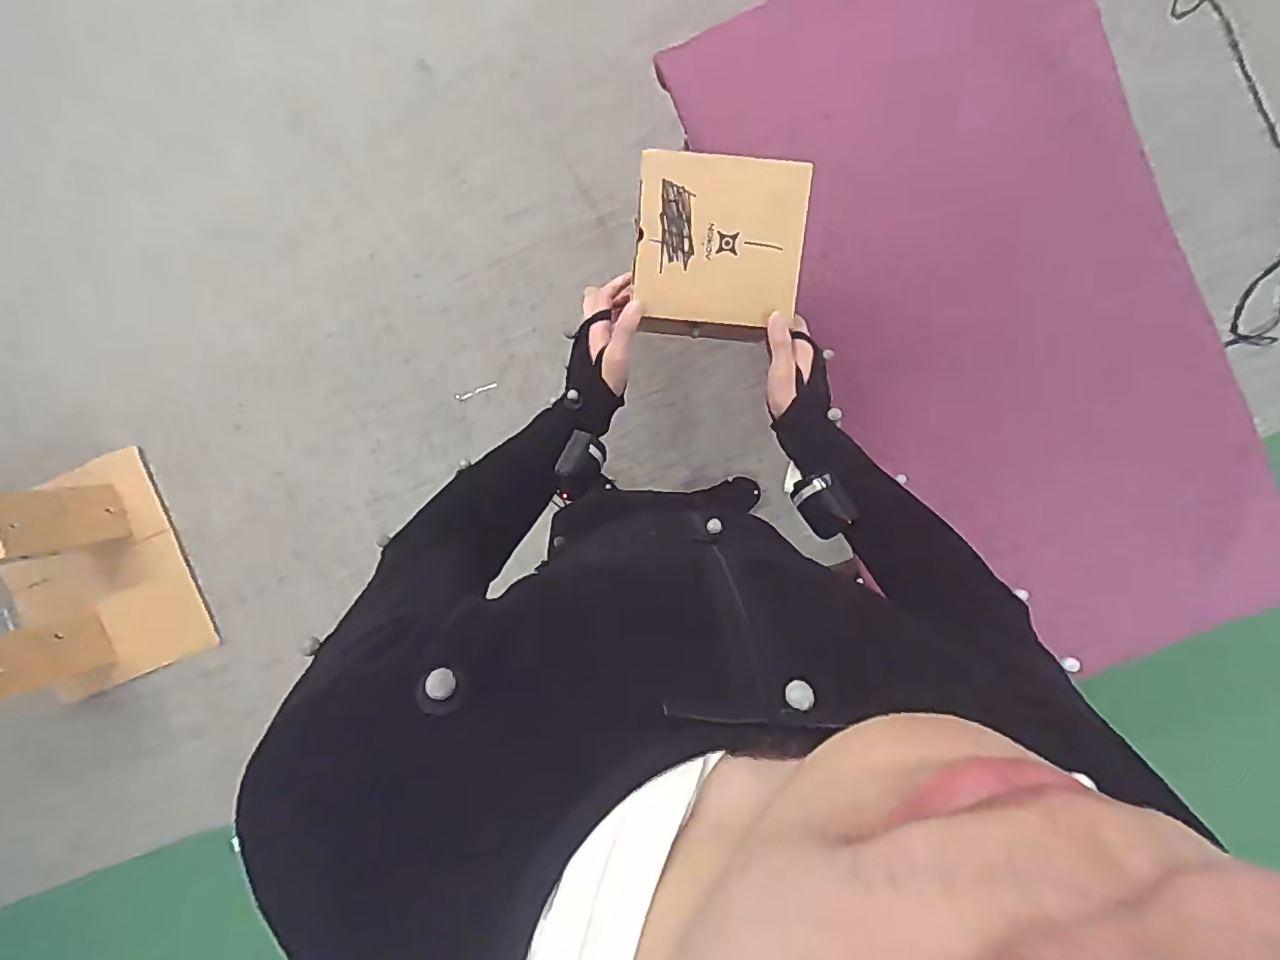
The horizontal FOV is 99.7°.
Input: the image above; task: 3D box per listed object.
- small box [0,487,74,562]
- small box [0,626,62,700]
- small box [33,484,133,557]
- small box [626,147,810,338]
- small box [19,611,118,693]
[{"bbox_3d":[-1.729,0.128,1.483,0.168,0.176,0.179,-16,93,3],"label":"small box"},{"bbox_3d":[-1.805,0.525,1.513,0.168,0.176,0.179,-20,93,4],"label":"small box"},{"bbox_3d":[-1.719,0.115,1.646,0.168,0.176,0.179,-19,93,4],"label":"small box"},{"bbox_3d":[0.079,-0.262,0.636,0.179,0.176,0.168,5,100,0],"label":"small box"},{"bbox_3d":[-1.794,0.520,1.674,0.168,0.176,0.179,-20,93,5],"label":"small box"}]
